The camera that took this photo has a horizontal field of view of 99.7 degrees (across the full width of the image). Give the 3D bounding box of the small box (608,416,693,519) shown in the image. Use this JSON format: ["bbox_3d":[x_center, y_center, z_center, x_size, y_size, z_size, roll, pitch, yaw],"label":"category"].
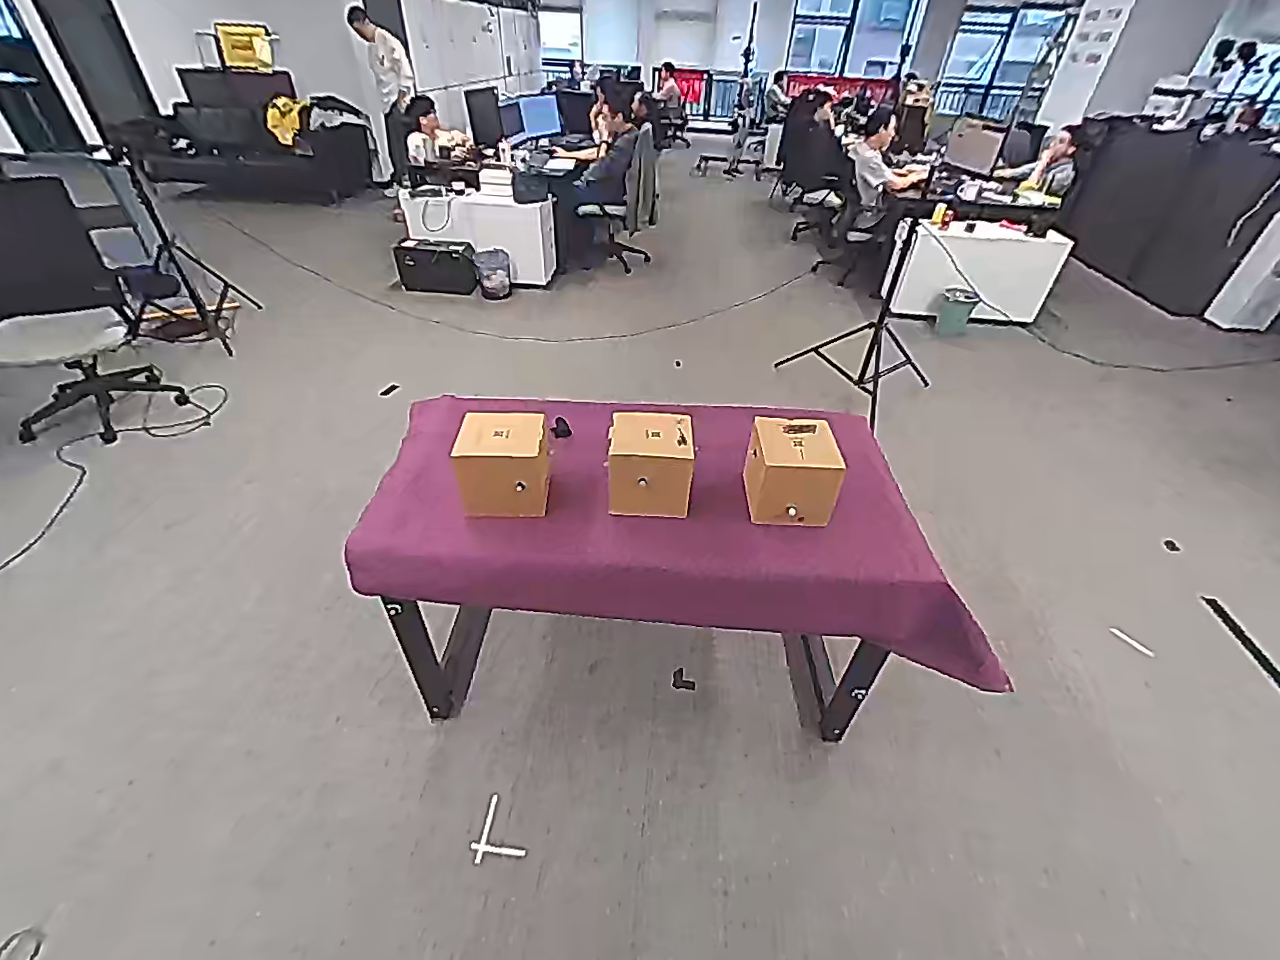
[{"bbox_3d":[0.024,-0.028,1.210,0.179,0.176,0.168,2,38,0],"label":"small box"}]

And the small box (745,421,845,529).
[{"bbox_3d":[0.334,-0.013,1.207,0.168,0.176,0.179,2,39,0],"label":"small box"}]

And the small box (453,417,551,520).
[{"bbox_3d":[-0.292,-0.024,1.190,0.179,0.176,0.168,-1,37,-3],"label":"small box"}]
